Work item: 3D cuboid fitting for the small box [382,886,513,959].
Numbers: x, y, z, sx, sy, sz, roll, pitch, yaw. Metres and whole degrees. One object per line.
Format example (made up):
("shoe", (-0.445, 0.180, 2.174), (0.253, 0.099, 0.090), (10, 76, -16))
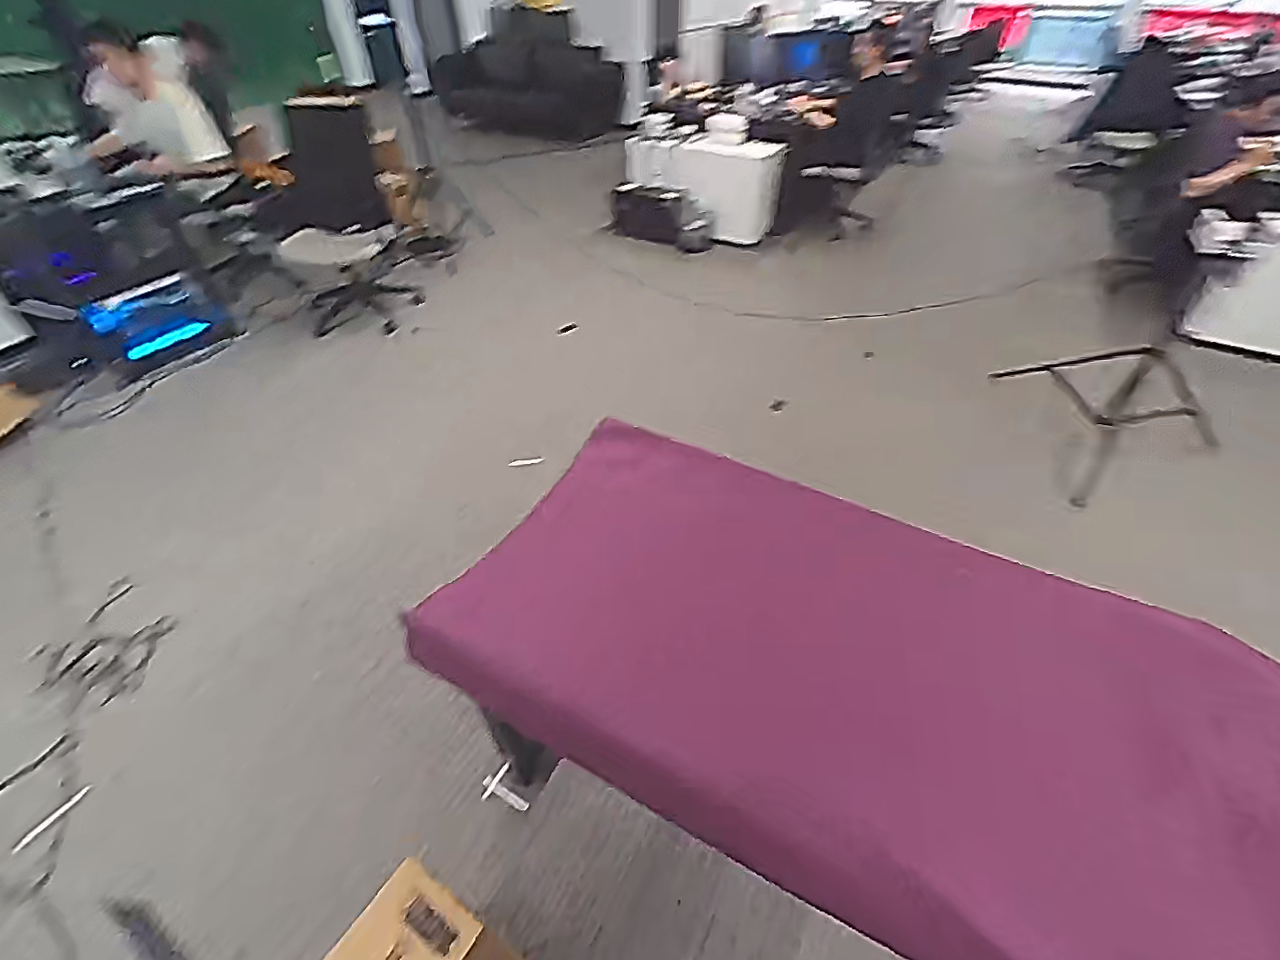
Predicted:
("small box", (-0.338, 0.856, 0.931), (0.168, 0.176, 0.179), (23, 48, 22))

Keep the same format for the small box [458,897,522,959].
("small box", (-0.344, 0.971, 1.050), (0.168, 0.176, 0.179), (27, 49, 25))
